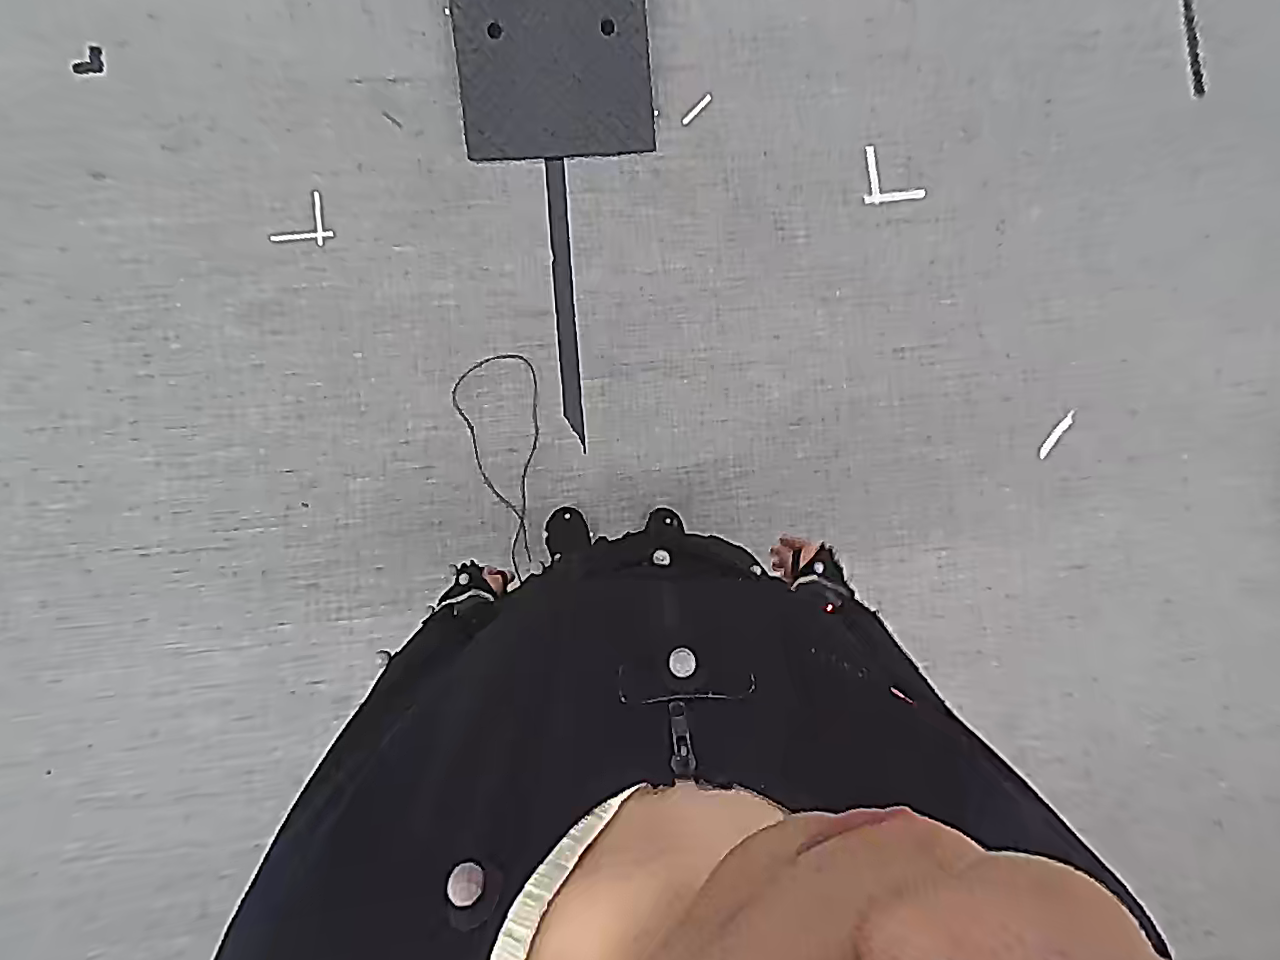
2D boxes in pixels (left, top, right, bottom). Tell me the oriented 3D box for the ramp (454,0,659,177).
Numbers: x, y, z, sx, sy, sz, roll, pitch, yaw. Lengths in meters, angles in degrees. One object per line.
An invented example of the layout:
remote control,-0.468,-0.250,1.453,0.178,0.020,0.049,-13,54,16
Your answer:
ramp,-0.231,-1.311,1.364,0.509,0.206,0.991,-8,88,-5
